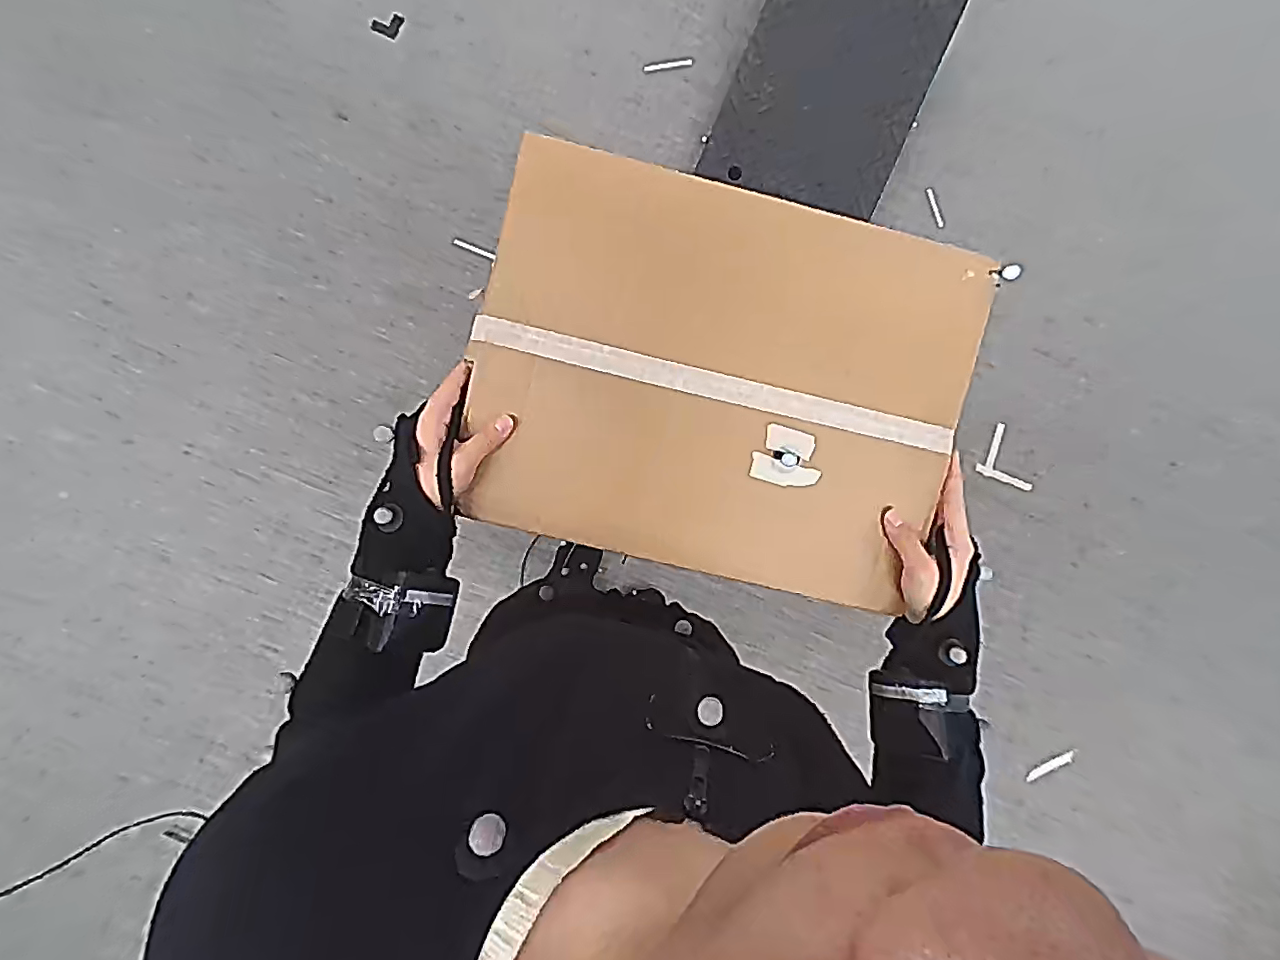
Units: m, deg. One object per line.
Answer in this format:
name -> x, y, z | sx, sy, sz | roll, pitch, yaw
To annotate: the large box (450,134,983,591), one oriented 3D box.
large box -> 0.056, -0.102, 0.600 | 0.408, 0.320, 0.320 | 13, 95, -3
